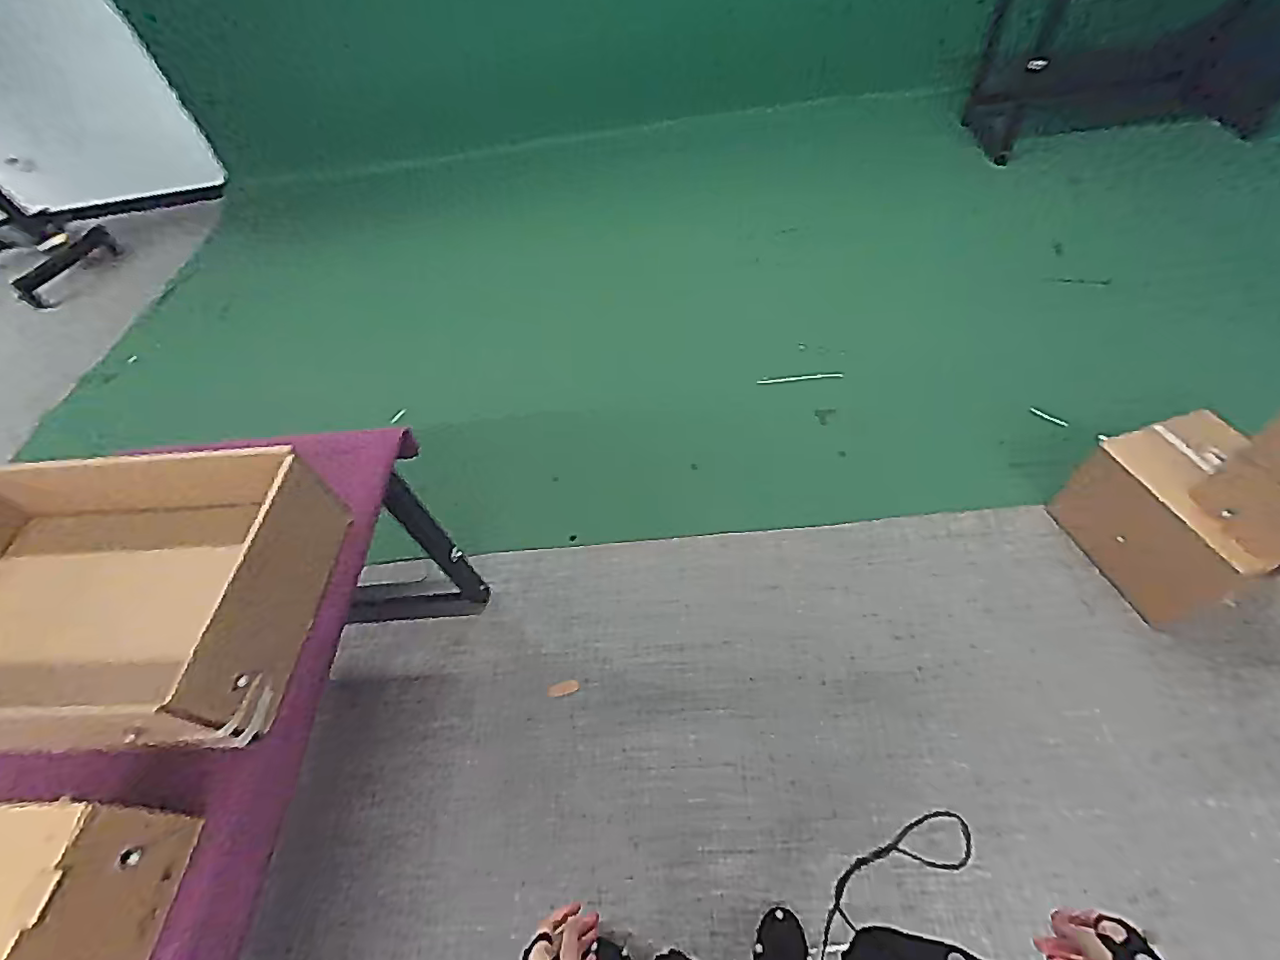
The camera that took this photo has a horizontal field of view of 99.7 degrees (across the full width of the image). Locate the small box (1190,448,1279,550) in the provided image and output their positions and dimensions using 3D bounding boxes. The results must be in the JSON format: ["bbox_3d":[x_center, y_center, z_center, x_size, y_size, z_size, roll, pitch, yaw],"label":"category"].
[{"bbox_3d":[1.359,0.032,1.147,0.168,0.176,0.179,-13,52,-1],"label":"small box"}]

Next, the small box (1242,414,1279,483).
[{"bbox_3d":[1.336,-0.066,1.017,0.168,0.176,0.179,-17,51,-3],"label":"small box"}]

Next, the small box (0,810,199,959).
[{"bbox_3d":[-0.664,0.475,0.607,0.179,0.176,0.168,-5,52,7],"label":"small box"}]

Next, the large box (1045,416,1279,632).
[{"bbox_3d":[1.386,0.112,1.393,0.320,0.320,0.408,-16,51,-4],"label":"large box"}]
